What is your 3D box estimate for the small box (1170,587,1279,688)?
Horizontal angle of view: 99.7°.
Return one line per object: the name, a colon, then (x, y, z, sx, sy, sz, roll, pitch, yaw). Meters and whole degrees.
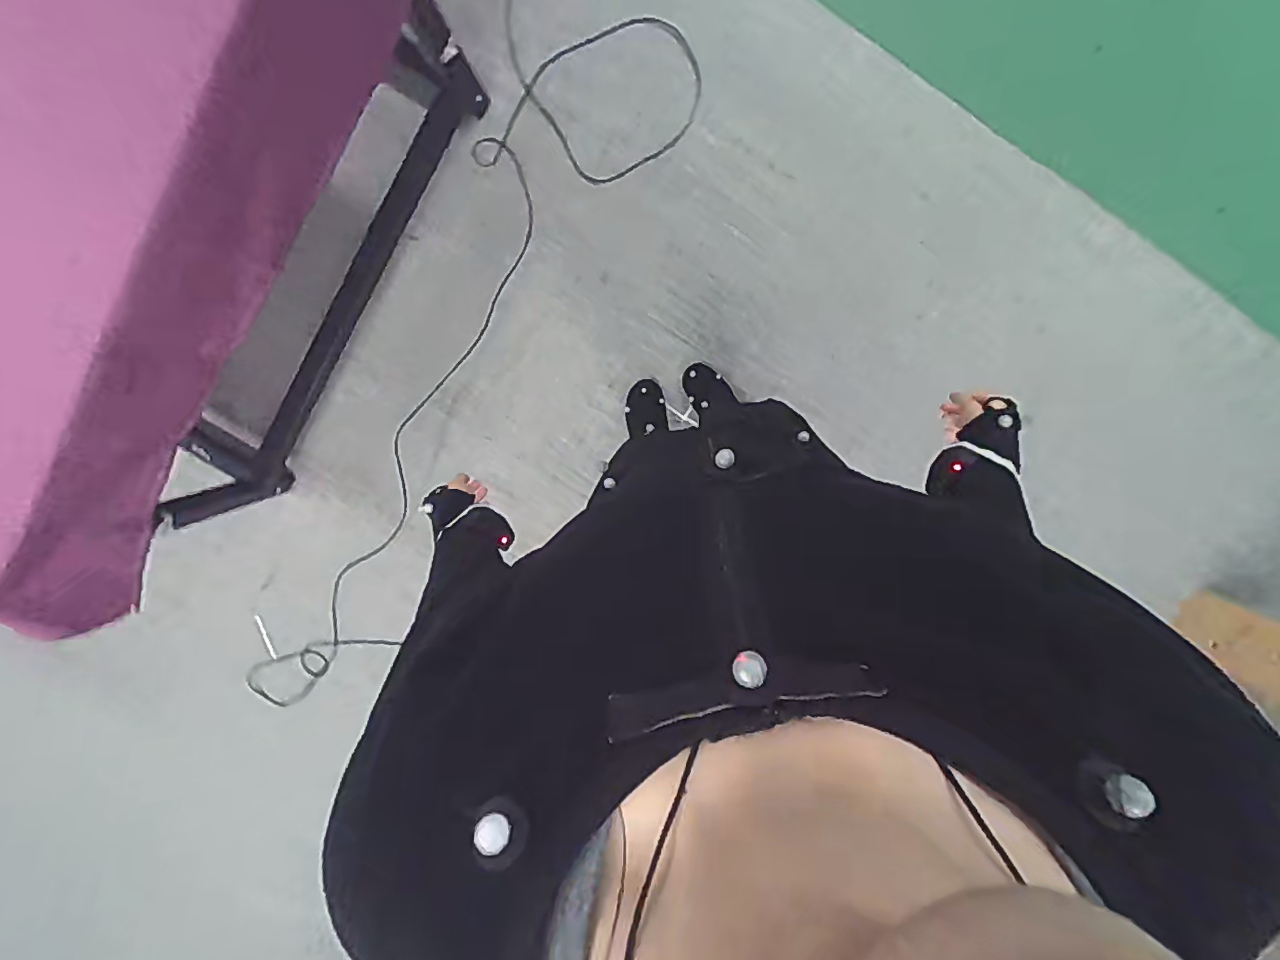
small box: (1.644, 0.430, 1.498, 0.168, 0.176, 0.179, 31, 99, -6)
